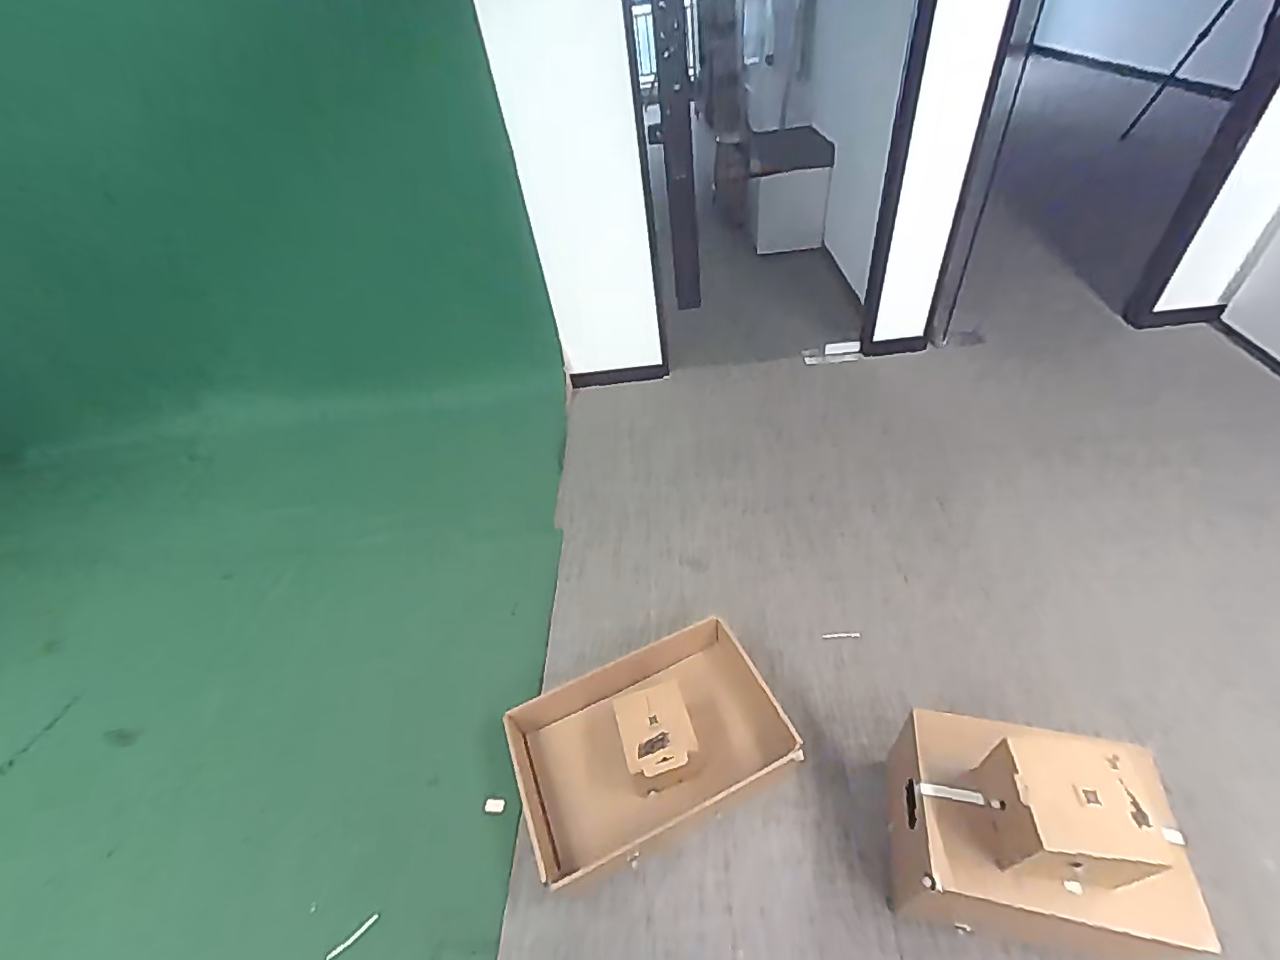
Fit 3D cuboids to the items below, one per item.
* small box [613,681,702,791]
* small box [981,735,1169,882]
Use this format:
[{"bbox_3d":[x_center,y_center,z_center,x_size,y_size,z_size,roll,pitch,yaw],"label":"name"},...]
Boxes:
[{"bbox_3d":[0.044,0.625,1.308,0.168,0.176,0.179,-17,42,-6],"label":"small box"},{"bbox_3d":[0.692,0.542,0.893,0.179,0.176,0.168,0,45,11],"label":"small box"}]
